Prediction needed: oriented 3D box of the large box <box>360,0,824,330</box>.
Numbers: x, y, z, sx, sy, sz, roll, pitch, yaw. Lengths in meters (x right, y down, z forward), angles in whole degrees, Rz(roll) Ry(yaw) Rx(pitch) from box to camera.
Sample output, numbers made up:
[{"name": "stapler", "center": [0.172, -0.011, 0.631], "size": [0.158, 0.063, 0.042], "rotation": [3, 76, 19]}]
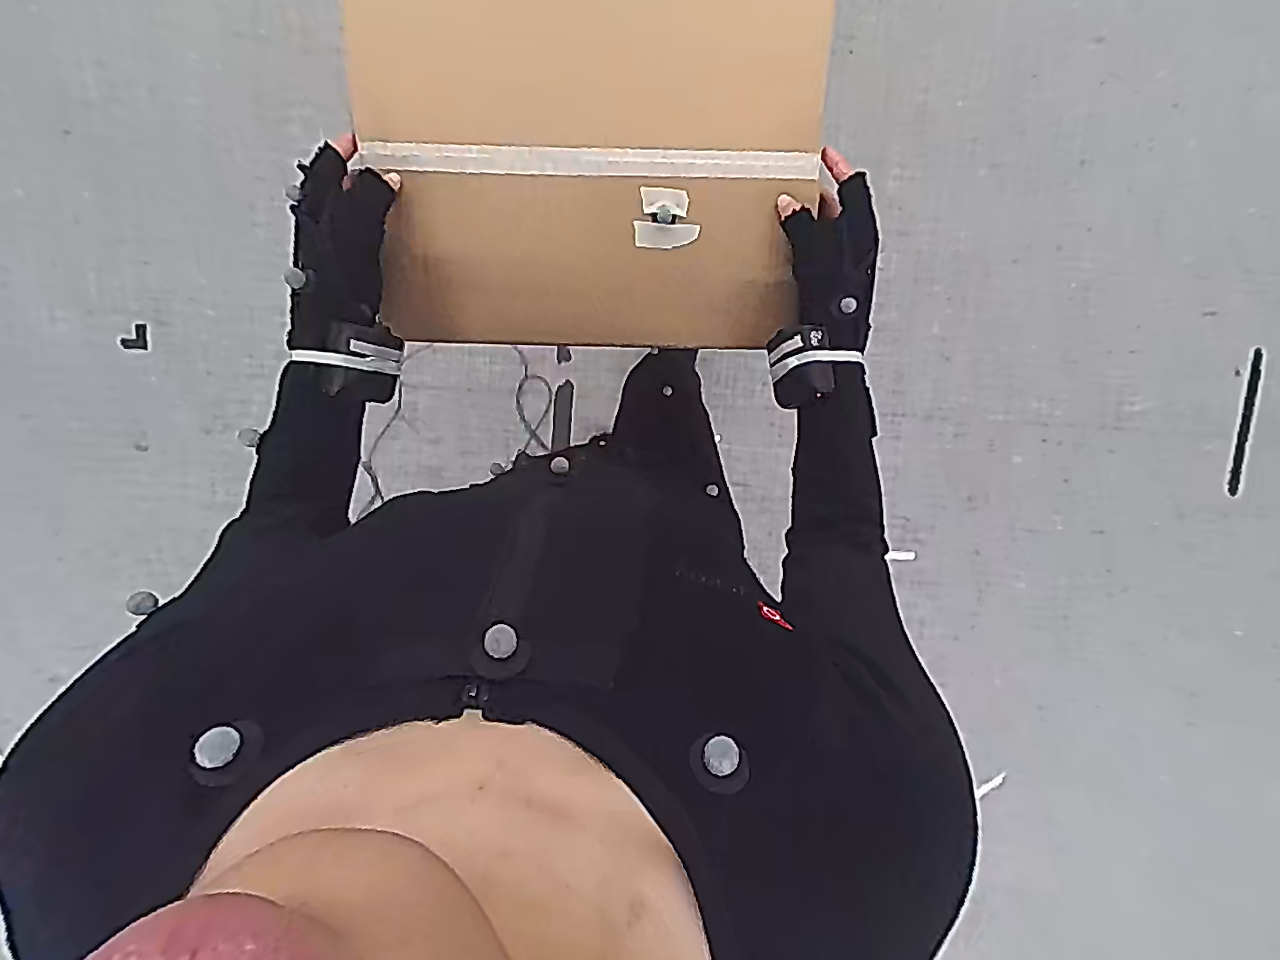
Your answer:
[{"name": "large box", "center": [-0.046, -0.339, 0.636], "size": [0.408, 0.320, 0.320], "rotation": [0, 106, -2]}]
